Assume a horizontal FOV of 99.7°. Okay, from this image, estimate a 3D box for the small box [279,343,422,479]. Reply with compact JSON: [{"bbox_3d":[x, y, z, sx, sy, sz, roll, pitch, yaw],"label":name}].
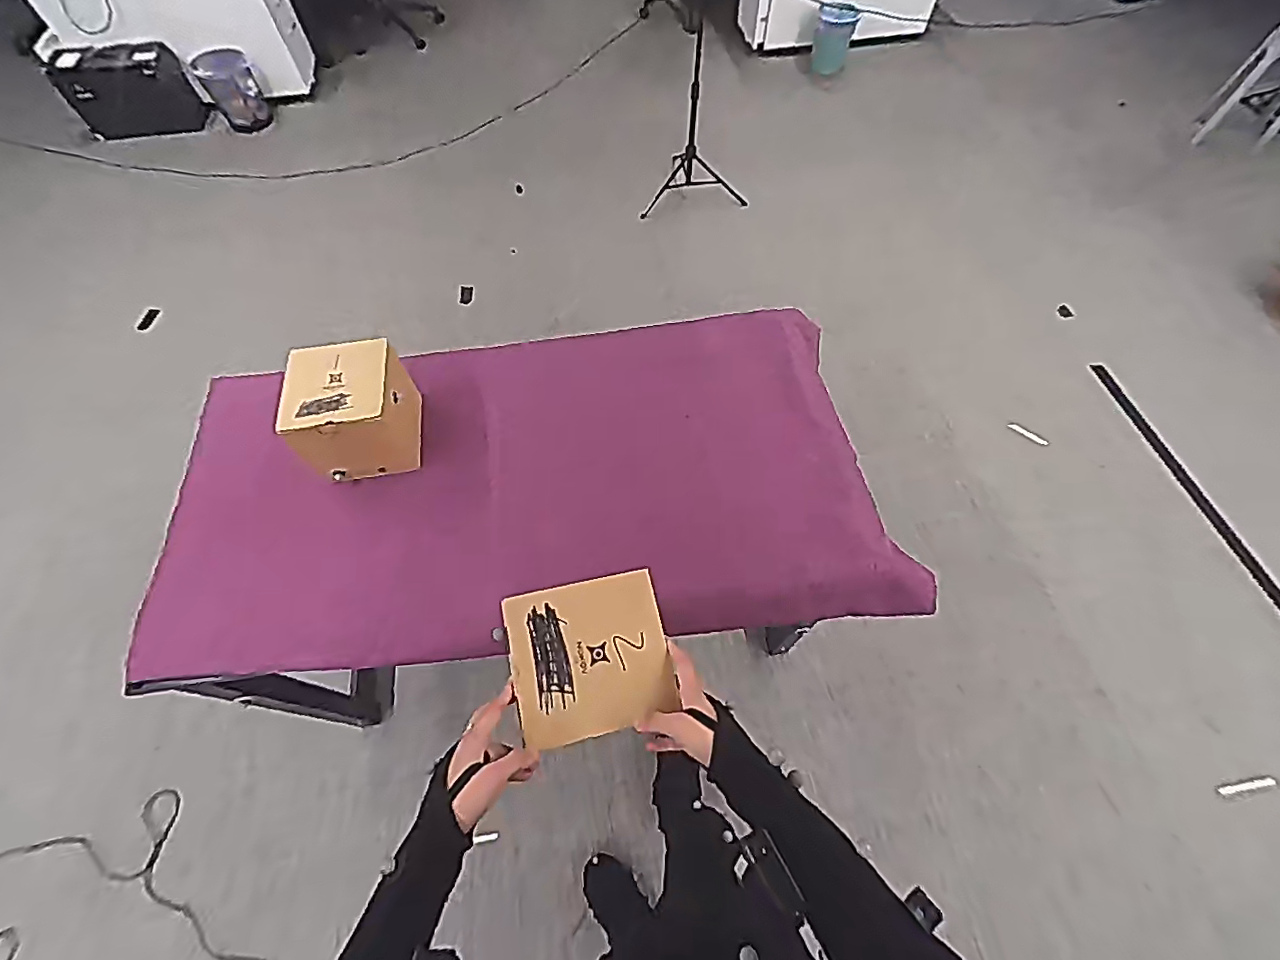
[{"bbox_3d":[-0.501,-0.114,0.964,0.168,0.176,0.179,-9,60,-5],"label":"small box"}]
